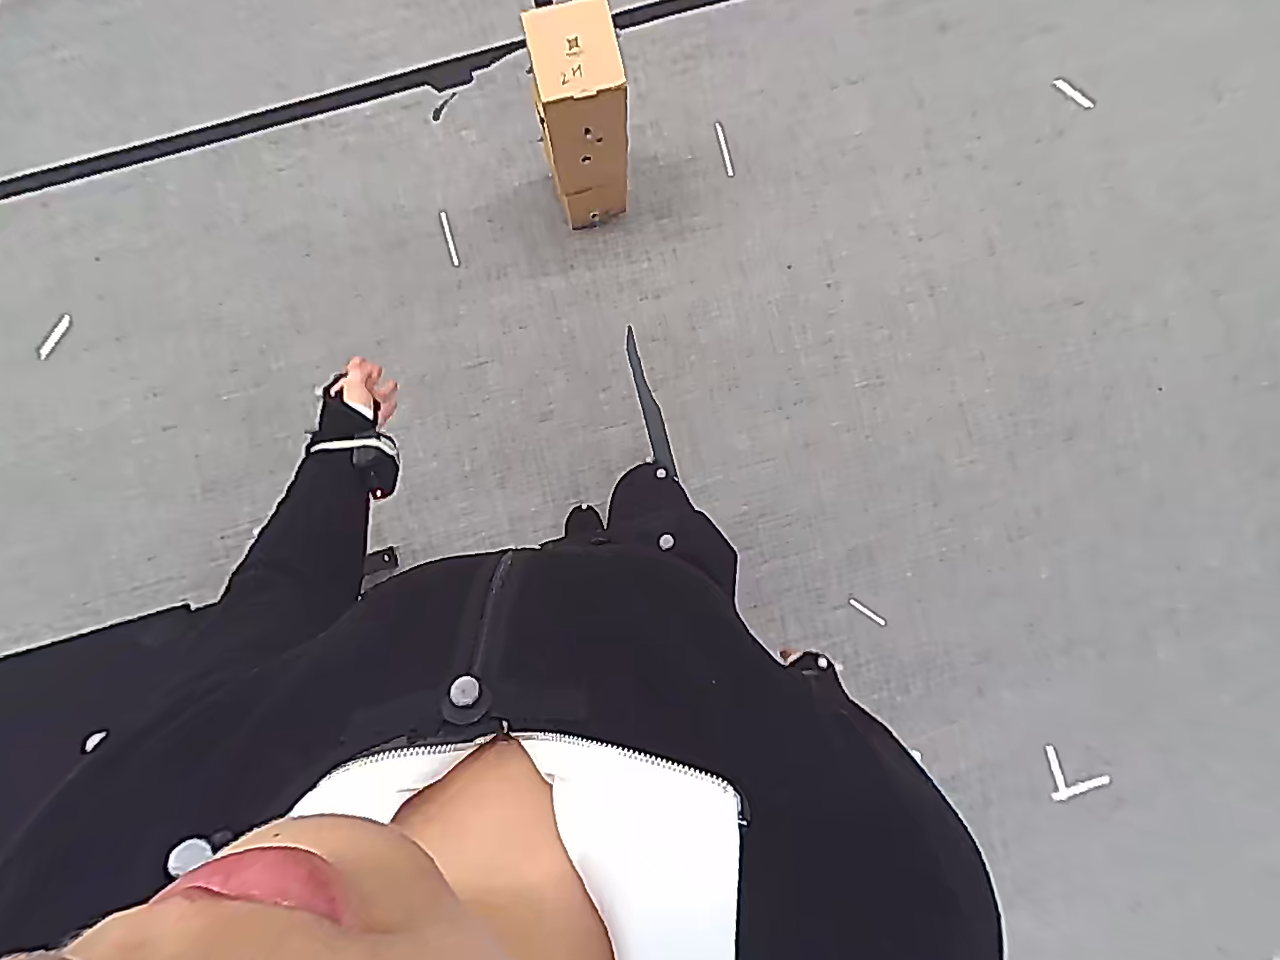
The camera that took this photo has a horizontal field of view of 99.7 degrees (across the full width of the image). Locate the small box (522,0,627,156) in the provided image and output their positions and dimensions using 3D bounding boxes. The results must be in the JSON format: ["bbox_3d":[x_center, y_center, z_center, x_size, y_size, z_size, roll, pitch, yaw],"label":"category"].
[{"bbox_3d":[-0.125,-0.794,1.081,0.168,0.176,0.179,-13,91,-1],"label":"small box"}]

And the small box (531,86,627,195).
[{"bbox_3d":[-0.133,-0.792,1.246,0.179,0.176,0.168,-17,91,-2],"label":"small box"}]

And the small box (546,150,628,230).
[{"bbox_3d":[-0.138,-0.791,1.410,0.168,0.176,0.179,-21,92,-1],"label":"small box"}]
